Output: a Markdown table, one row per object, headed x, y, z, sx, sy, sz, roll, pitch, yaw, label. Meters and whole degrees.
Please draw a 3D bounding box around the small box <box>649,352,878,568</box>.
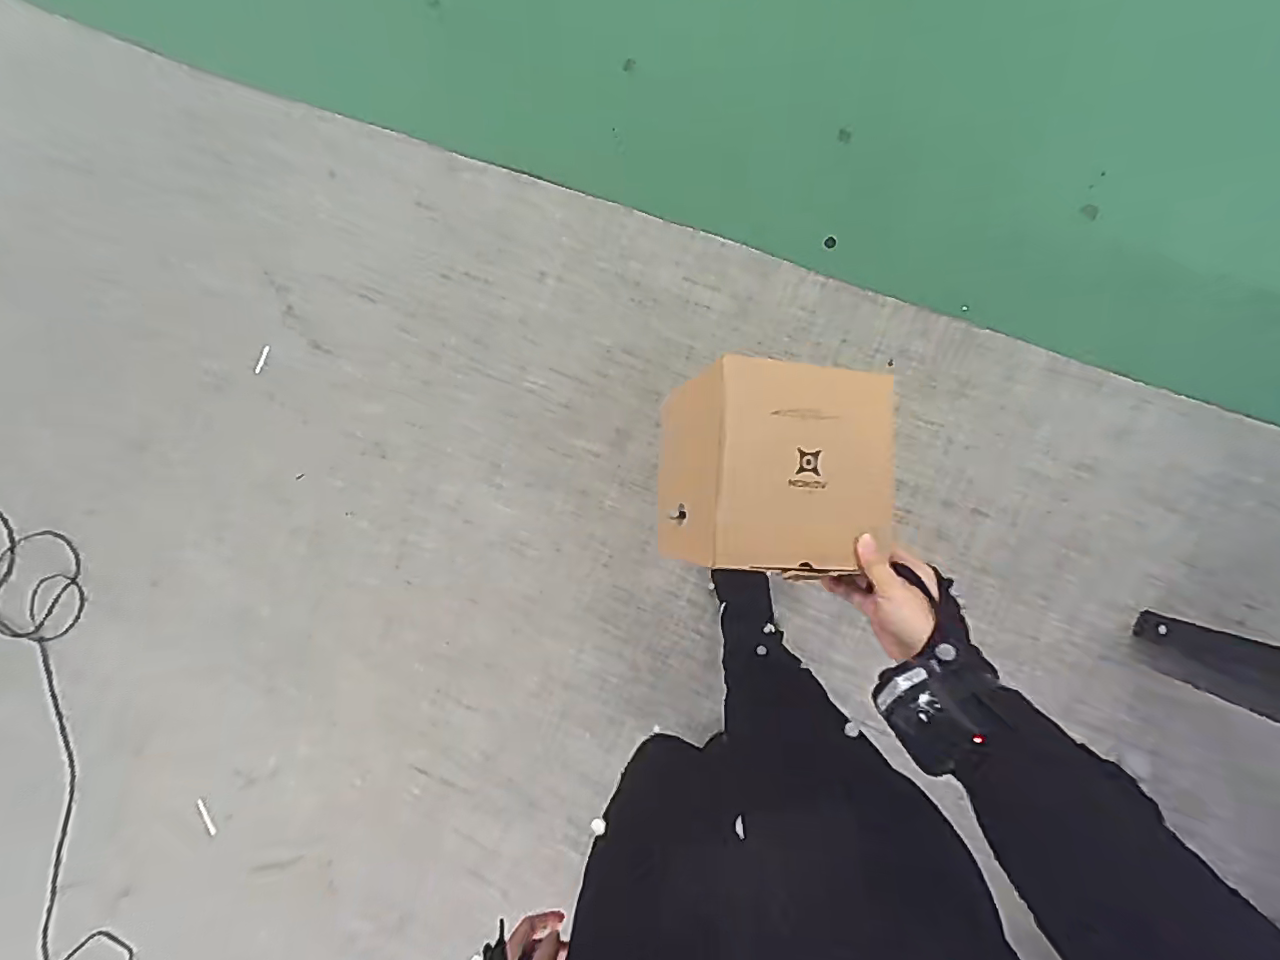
| x | y | z | sx | sy | sz | roll | pitch | yaw | label |
| --- | --- | --- | --- | --- | --- | --- | --- | --- | --- |
| 0.110 | -0.008 | 0.538 | 0.168 | 0.176 | 0.179 | 4 | 83 | -15 | small box |
